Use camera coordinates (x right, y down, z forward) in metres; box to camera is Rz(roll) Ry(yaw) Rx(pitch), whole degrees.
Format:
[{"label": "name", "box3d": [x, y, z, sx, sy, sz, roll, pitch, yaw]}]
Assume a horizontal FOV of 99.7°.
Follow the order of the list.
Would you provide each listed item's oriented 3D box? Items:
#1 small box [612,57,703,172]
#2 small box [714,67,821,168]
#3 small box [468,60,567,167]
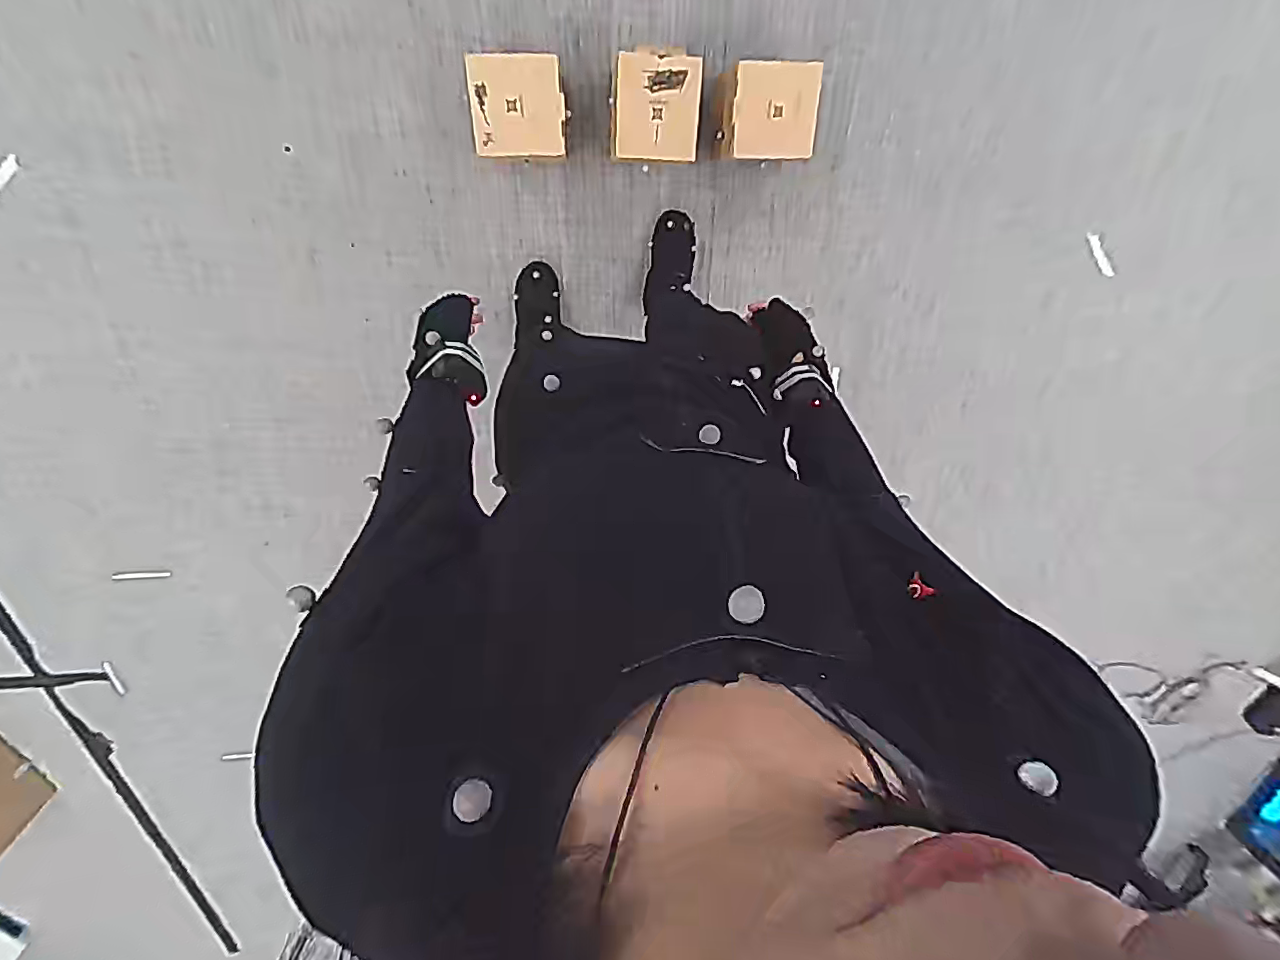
[{"label": "small box", "box3d": [0.027, -0.761, 1.143, 0.168, 0.176, 0.179, 0, 118, -7]}, {"label": "small box", "box3d": [0.265, -0.773, 1.168, 0.179, 0.176, 0.168, -4, 119, -6]}, {"label": "small box", "box3d": [-0.245, -0.747, 1.117, 0.179, 0.176, 0.168, -4, 117, -6]}]
